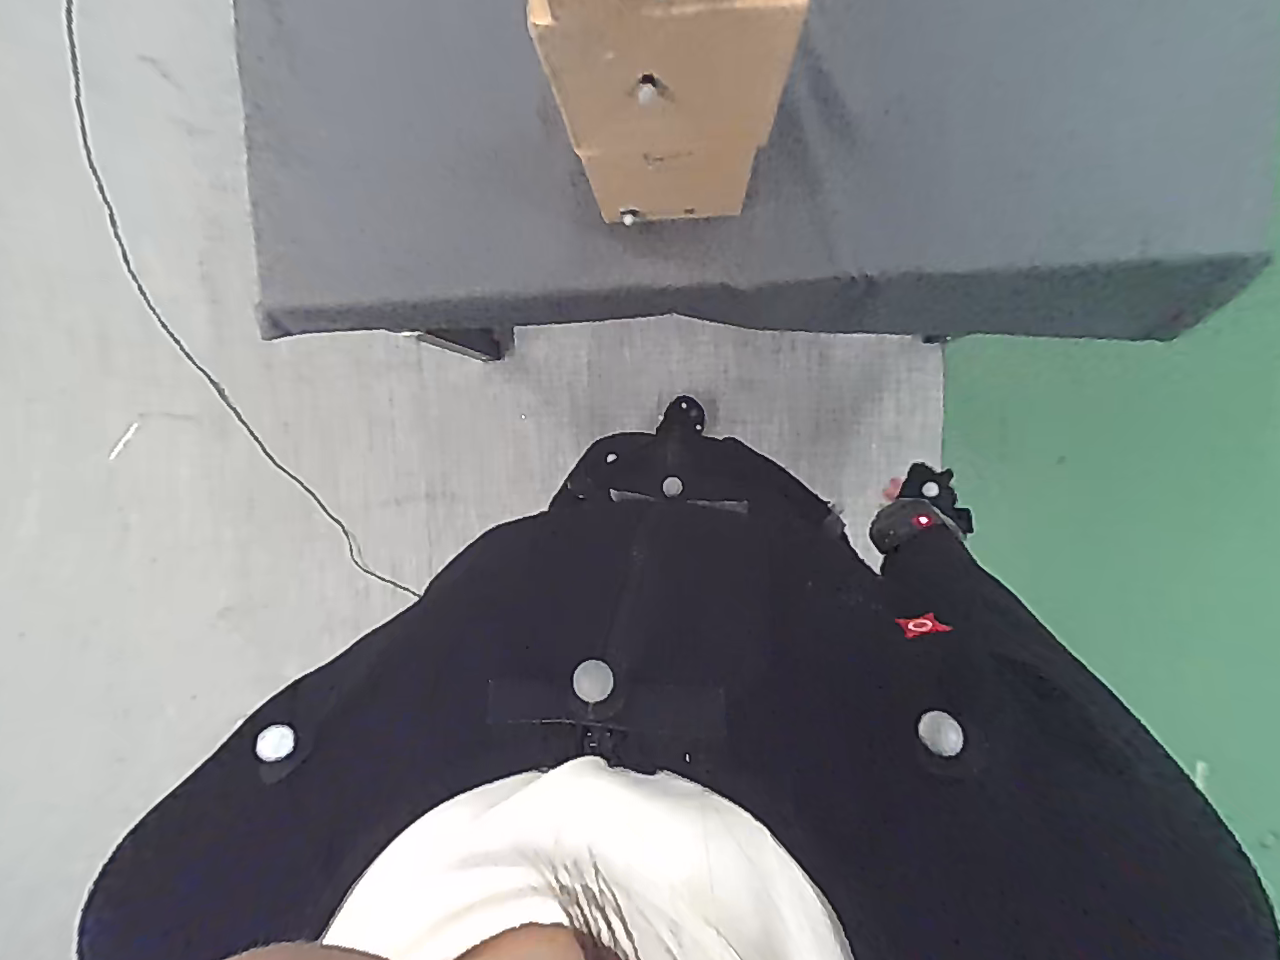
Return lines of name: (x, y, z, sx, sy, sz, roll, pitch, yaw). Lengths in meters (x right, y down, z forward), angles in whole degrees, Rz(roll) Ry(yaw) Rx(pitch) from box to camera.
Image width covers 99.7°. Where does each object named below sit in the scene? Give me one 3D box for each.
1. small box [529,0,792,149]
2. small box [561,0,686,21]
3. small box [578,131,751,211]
small box: (0.018, -0.383, 0.413, 0.179, 0.176, 0.168, -4, 93, 4)
small box: (0.009, -0.374, 0.247, 0.168, 0.176, 0.179, -6, 95, 6)
small box: (0.029, -0.403, 0.571, 0.168, 0.176, 0.179, -1, 94, 5)
